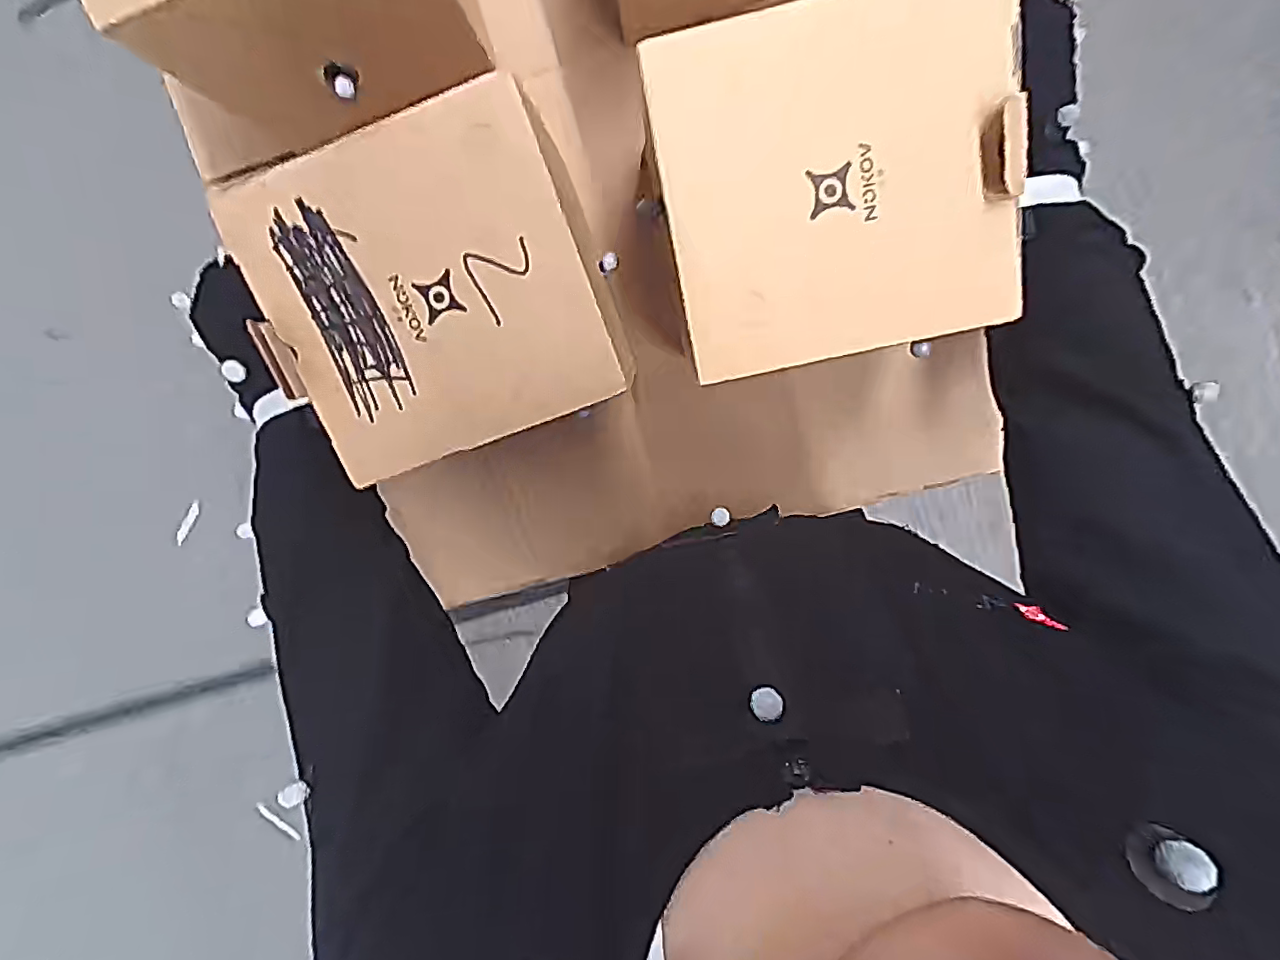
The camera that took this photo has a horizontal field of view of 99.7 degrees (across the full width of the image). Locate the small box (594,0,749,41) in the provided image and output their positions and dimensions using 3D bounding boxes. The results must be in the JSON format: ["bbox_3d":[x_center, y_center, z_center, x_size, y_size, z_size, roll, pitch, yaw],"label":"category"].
[{"bbox_3d":[0.034,-0.399,0.296,0.179,0.176,0.168,-15,100,7],"label":"small box"}]
